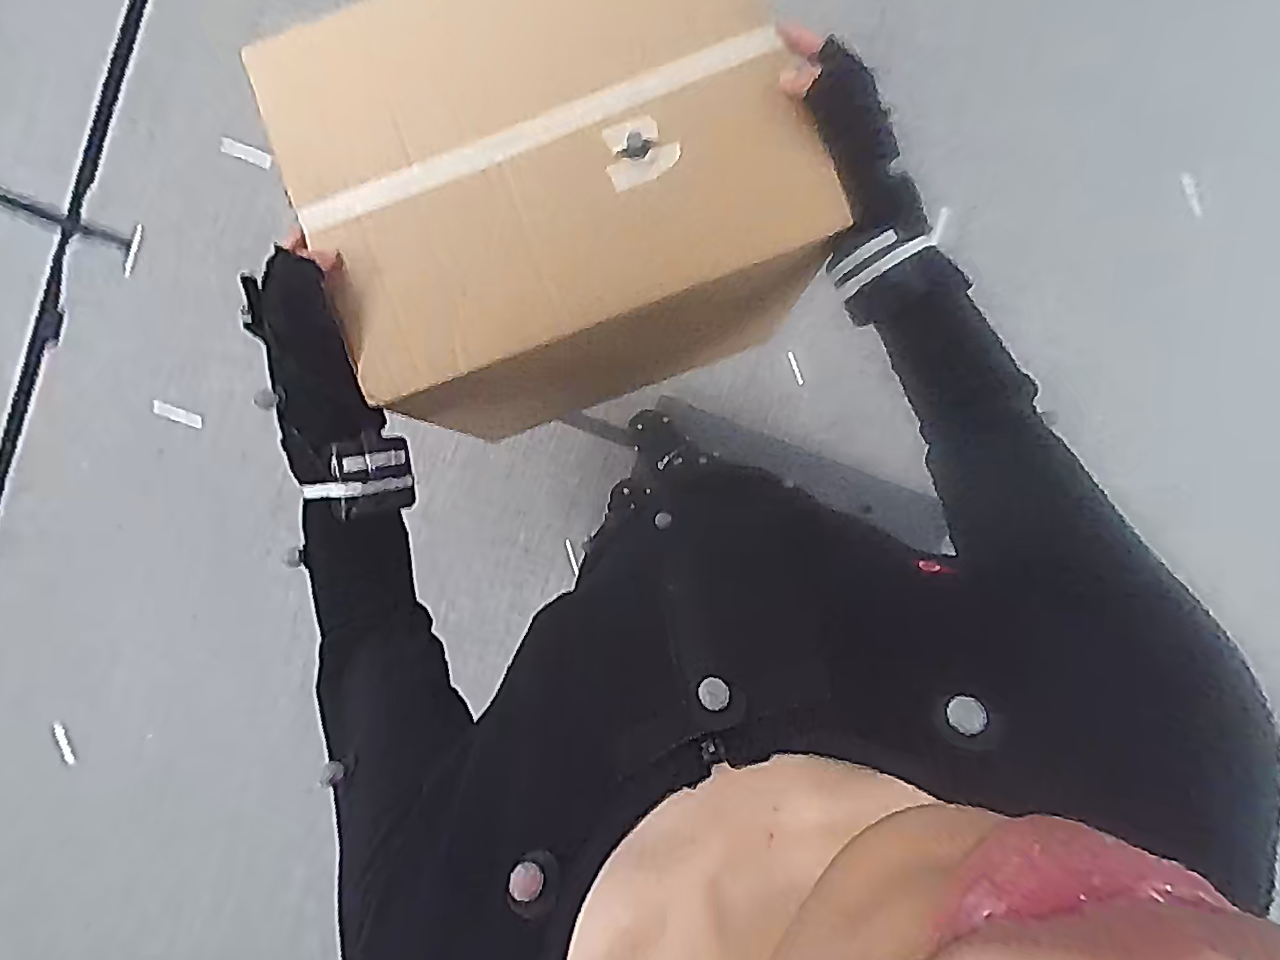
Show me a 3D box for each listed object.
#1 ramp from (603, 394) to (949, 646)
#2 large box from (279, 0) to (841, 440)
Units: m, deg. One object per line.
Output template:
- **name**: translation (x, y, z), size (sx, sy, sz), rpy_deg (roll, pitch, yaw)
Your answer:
- **ramp**: translation (0.431, 0.141, 1.593), size (0.991, 0.206, 0.509), rpy_deg (17, 91, -2)
- **large box**: translation (-0.069, -0.269, 0.595), size (0.408, 0.320, 0.320), rpy_deg (-20, 87, 1)
